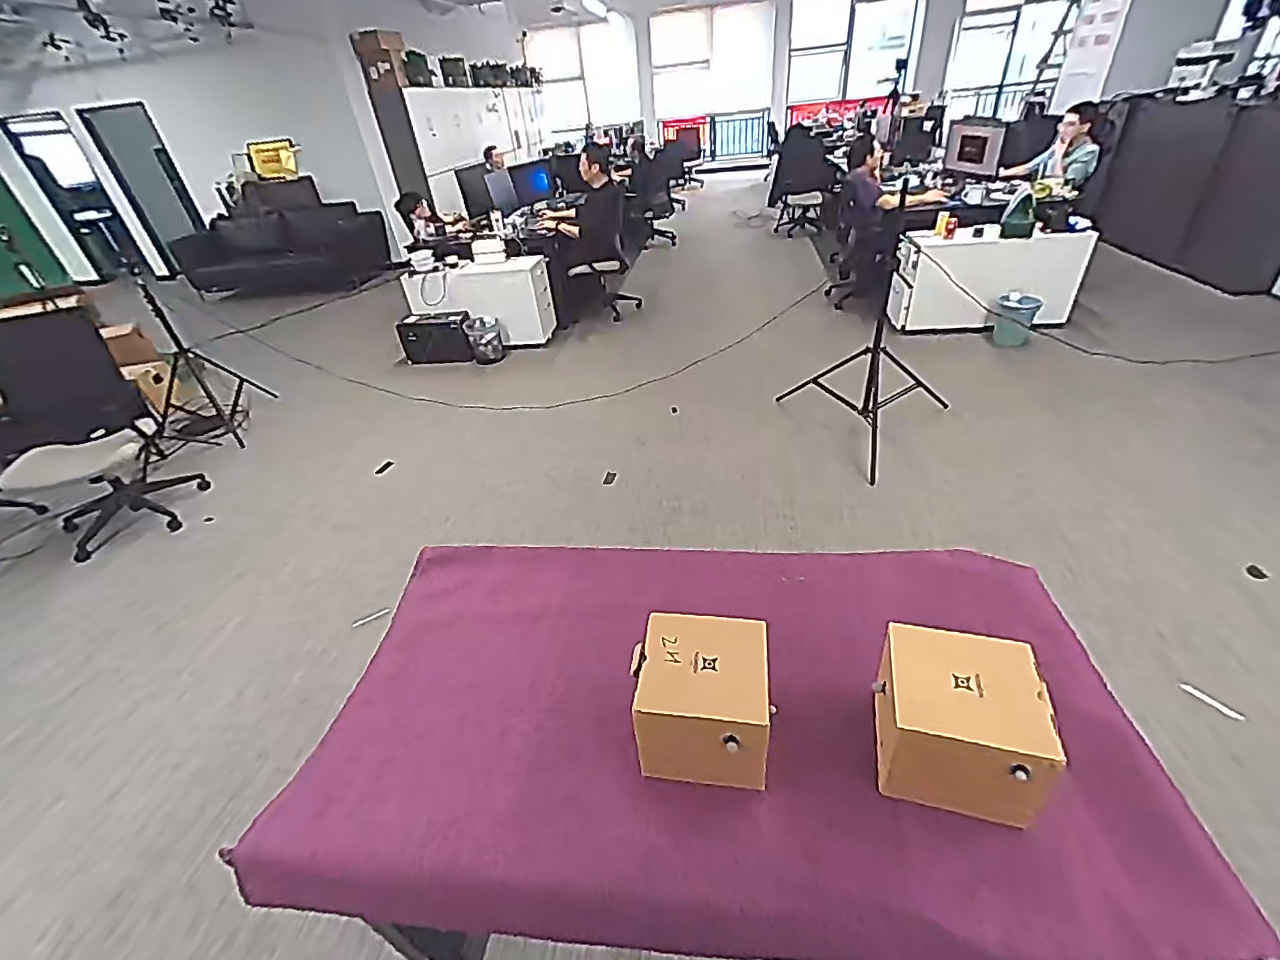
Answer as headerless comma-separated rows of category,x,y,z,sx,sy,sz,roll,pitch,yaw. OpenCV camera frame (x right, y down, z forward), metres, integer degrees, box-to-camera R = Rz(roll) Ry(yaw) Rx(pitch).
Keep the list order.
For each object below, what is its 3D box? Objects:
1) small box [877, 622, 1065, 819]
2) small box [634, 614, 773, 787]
small box,0.422,0.321,0.729,0.179,0.176,0.168,5,36,17
small box,0.097,0.320,0.788,0.179,0.176,0.168,1,35,11
